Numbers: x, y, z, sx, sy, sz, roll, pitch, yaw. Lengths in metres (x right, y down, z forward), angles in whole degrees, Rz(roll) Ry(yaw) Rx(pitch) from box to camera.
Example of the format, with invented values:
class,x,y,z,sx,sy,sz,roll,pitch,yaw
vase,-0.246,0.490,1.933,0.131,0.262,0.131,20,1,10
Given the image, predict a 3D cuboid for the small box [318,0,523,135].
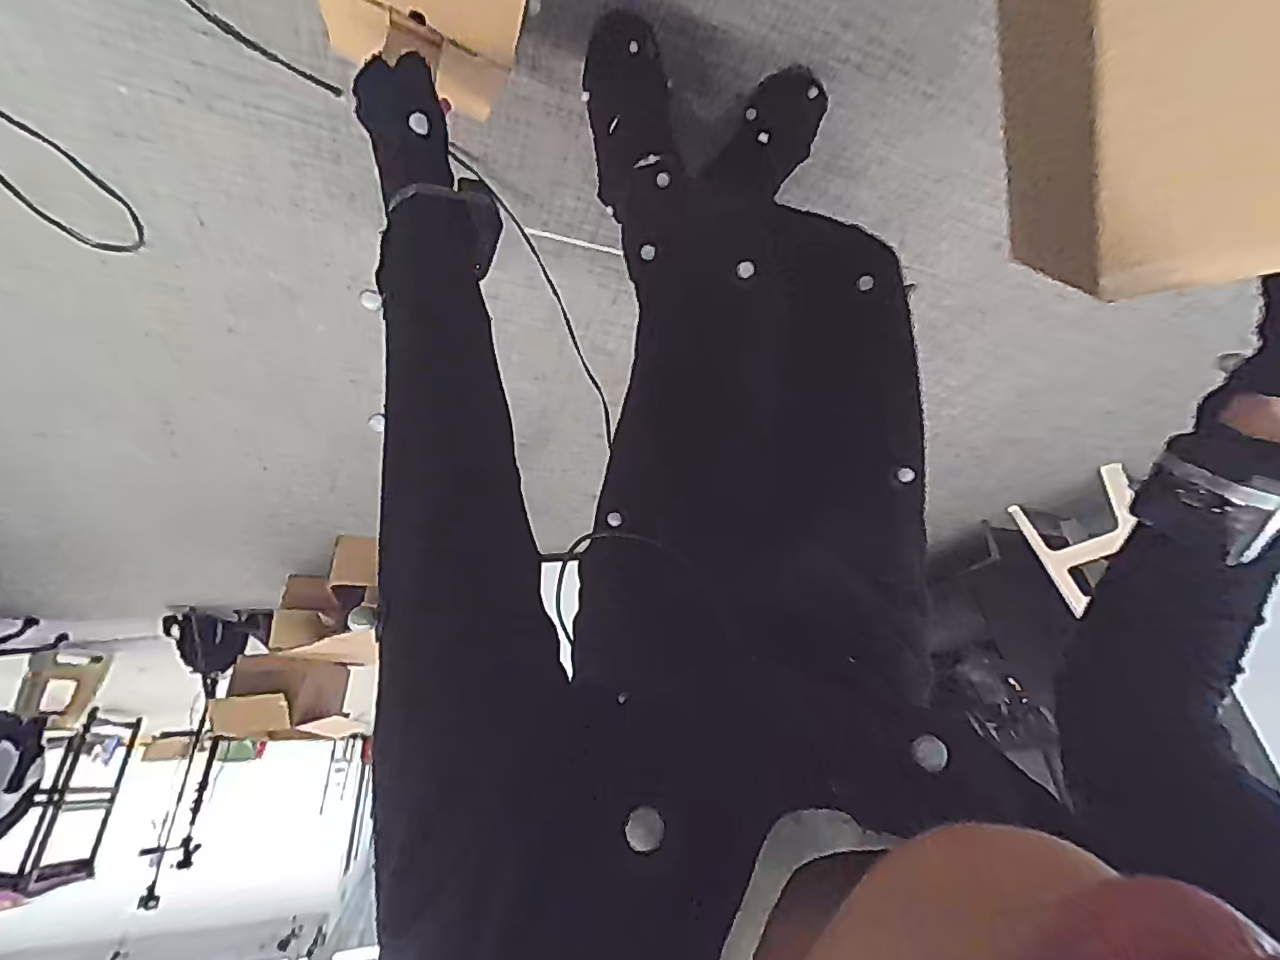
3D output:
class,x,y,z,sx,sy,sz,roll,pitch,yaw
small box,-0.211,-0.486,0.533,0.168,0.179,0.176,11,-169,-27
